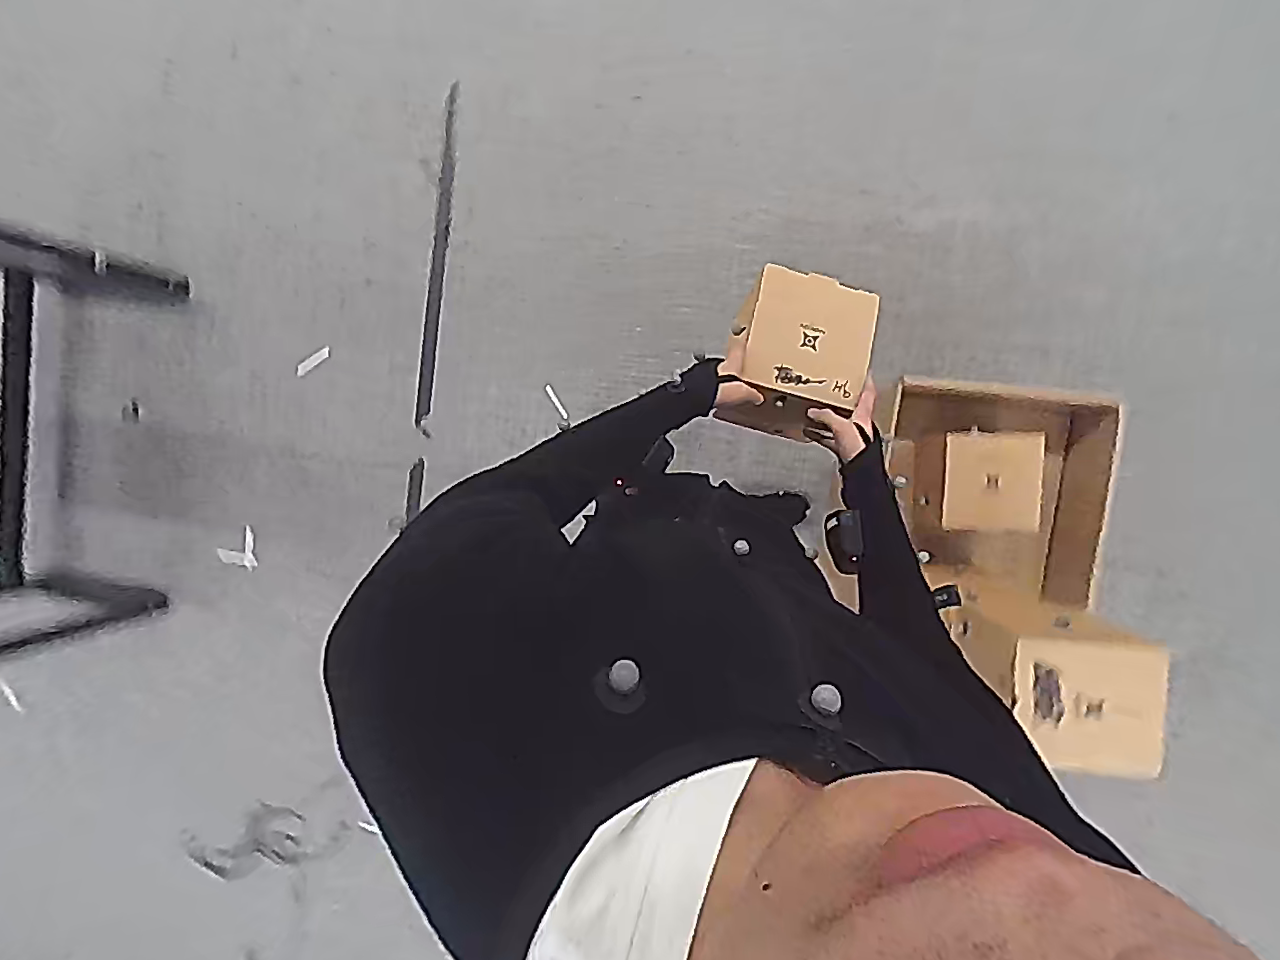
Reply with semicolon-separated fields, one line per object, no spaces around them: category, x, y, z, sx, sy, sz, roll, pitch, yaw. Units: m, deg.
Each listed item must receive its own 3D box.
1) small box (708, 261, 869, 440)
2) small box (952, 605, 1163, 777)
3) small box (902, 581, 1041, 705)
small box;0.206;-0.178;0.789;0.168;0.176;0.179;14;78;-2
small box;0.563;0.279;0.756;0.179;0.176;0.168;2;93;8
small box;0.574;0.277;0.921;0.179;0.176;0.168;5;93;9
